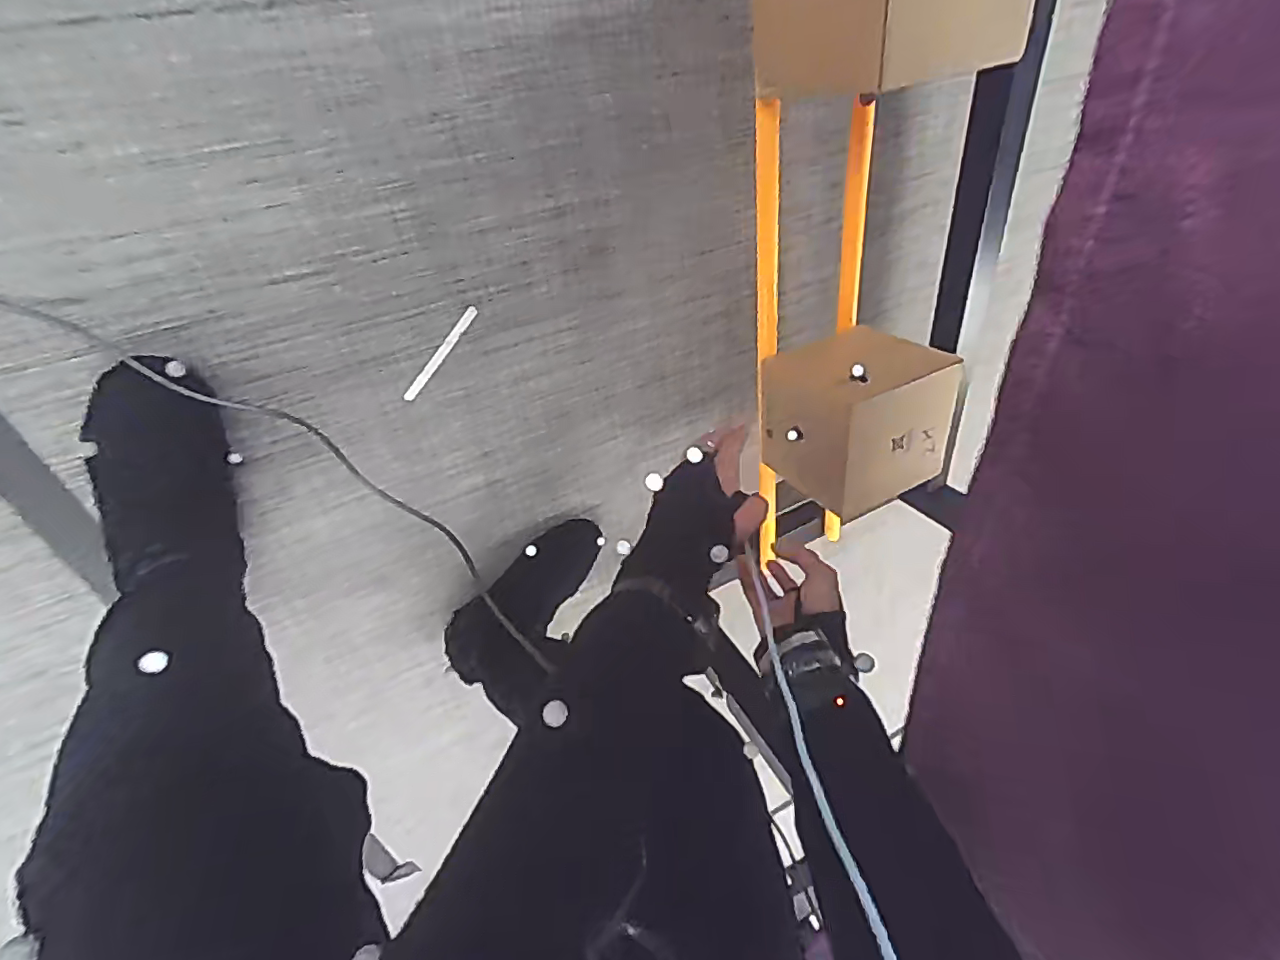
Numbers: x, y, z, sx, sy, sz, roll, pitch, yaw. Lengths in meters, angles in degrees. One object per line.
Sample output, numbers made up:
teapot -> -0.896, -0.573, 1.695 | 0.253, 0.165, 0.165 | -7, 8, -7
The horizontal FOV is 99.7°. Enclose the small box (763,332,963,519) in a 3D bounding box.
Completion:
small box -> 0.280, -0.081, 0.718 | 0.179, 0.176, 0.168 | -21, 126, -18

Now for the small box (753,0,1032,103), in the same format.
small box -> 0.211, -0.442, 0.466 | 0.168, 0.176, 0.179 | -23, 127, -15
